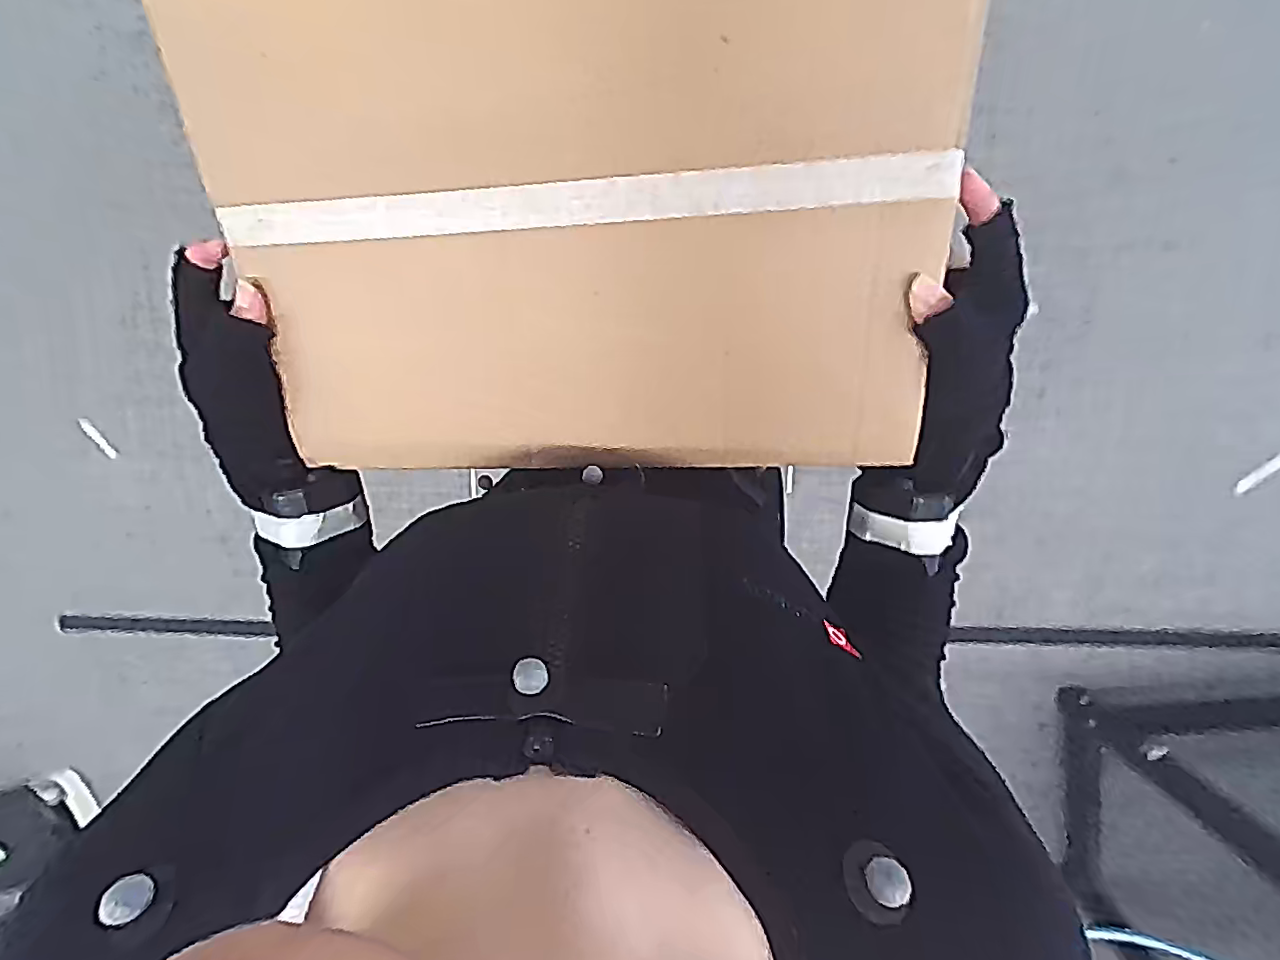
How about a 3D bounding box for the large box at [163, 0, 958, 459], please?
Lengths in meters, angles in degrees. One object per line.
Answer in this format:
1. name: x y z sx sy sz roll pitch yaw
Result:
1. large box: -0.027 -0.220 0.434 0.408 0.320 0.320 0 114 7
